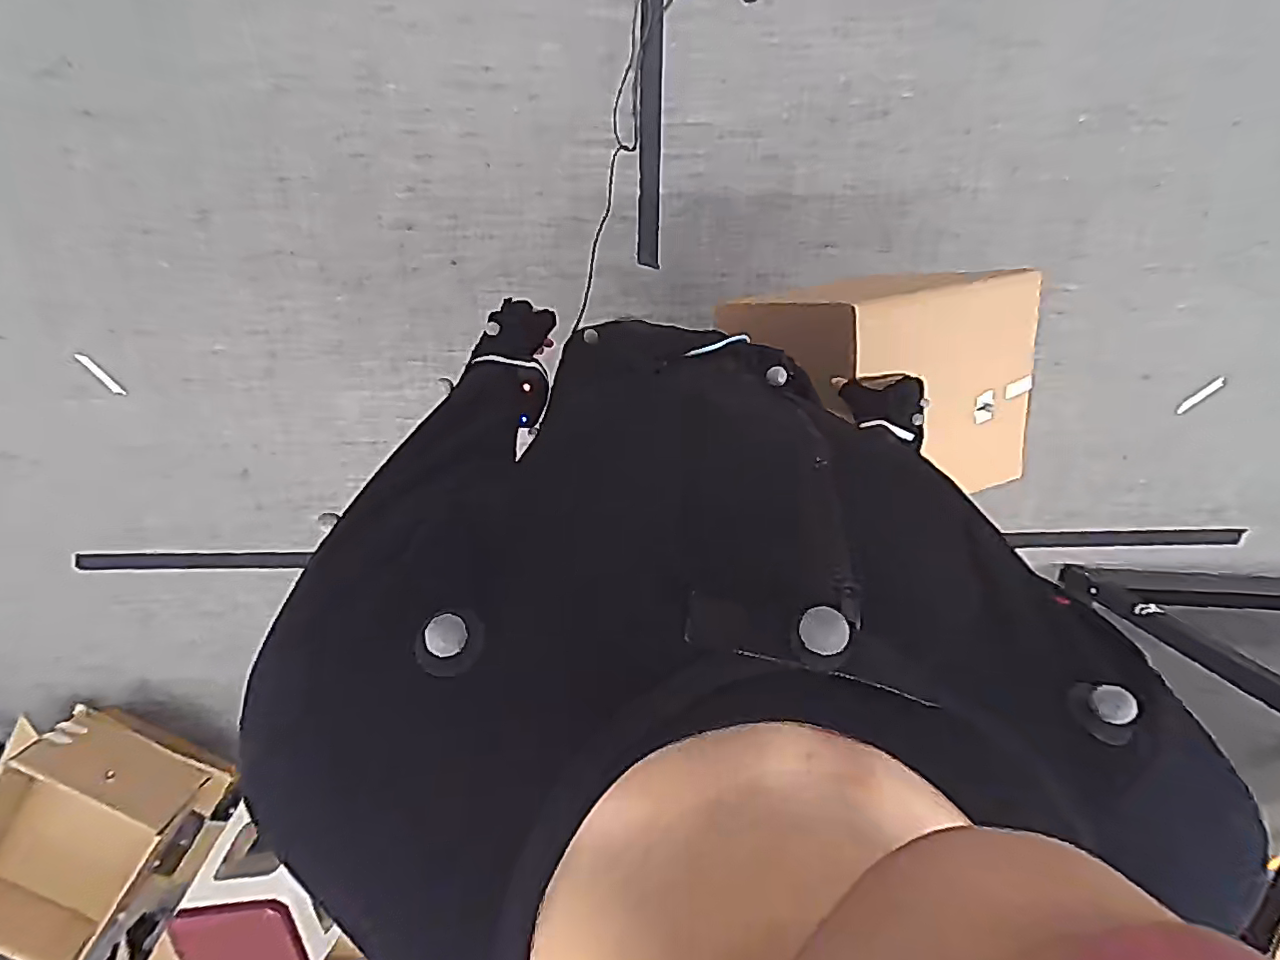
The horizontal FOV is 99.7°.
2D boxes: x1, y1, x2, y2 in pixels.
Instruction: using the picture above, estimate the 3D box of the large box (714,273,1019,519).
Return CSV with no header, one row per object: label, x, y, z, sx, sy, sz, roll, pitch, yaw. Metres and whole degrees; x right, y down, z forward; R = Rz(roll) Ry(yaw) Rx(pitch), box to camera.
large box,0.365,-0.171,0.955,0.320,0.408,0.320,-13,111,-13
